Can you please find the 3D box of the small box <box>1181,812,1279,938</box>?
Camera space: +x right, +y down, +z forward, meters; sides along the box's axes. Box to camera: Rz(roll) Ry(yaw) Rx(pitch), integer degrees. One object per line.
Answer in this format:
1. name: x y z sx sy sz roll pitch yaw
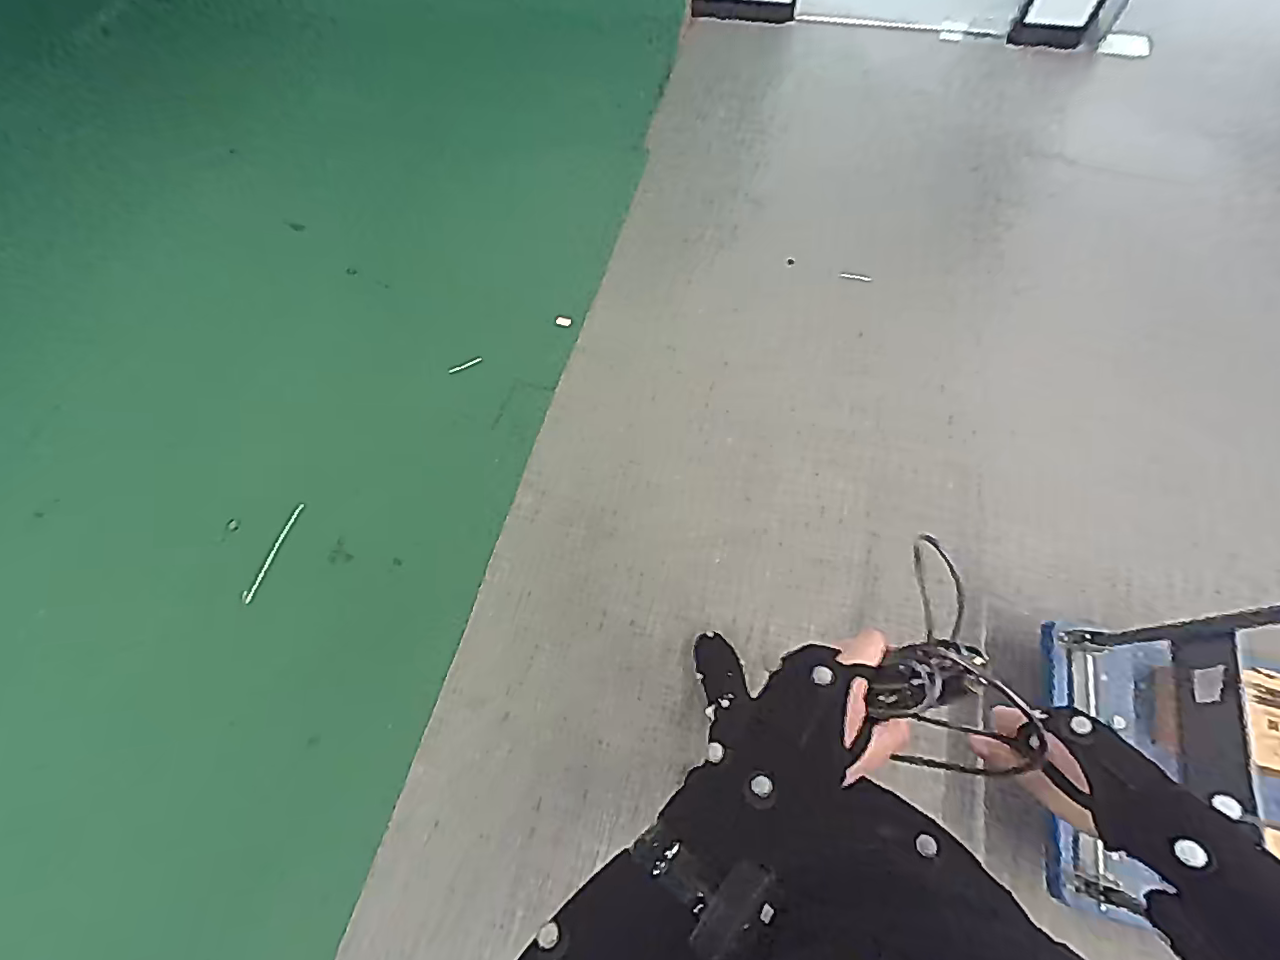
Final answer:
1. small box: 1.159 0.731 0.987 0.179 0.176 0.168 12 69 10
